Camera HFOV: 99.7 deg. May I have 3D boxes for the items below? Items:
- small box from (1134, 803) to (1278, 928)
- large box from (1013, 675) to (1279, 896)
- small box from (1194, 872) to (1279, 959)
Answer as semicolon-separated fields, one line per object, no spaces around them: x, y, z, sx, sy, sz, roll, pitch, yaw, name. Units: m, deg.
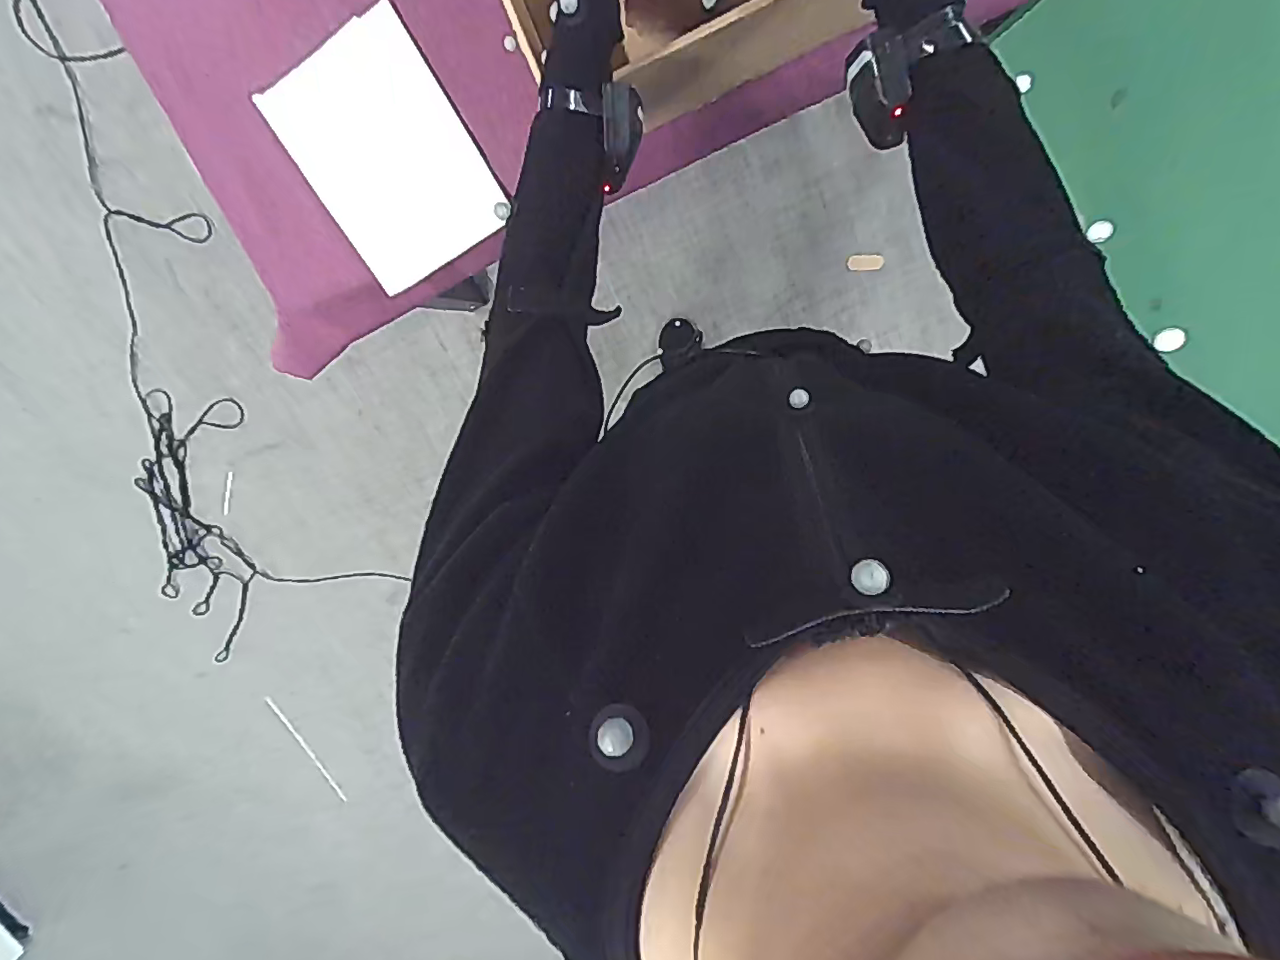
1.369;0.929;1.304;0.179;0.176;0.168;-34;100;11;small box
1.401;0.849;1.535;0.408;0.320;0.320;-38;101;10;large box
1.355;0.980;1.149;0.168;0.176;0.179;-32;100;10;small box
